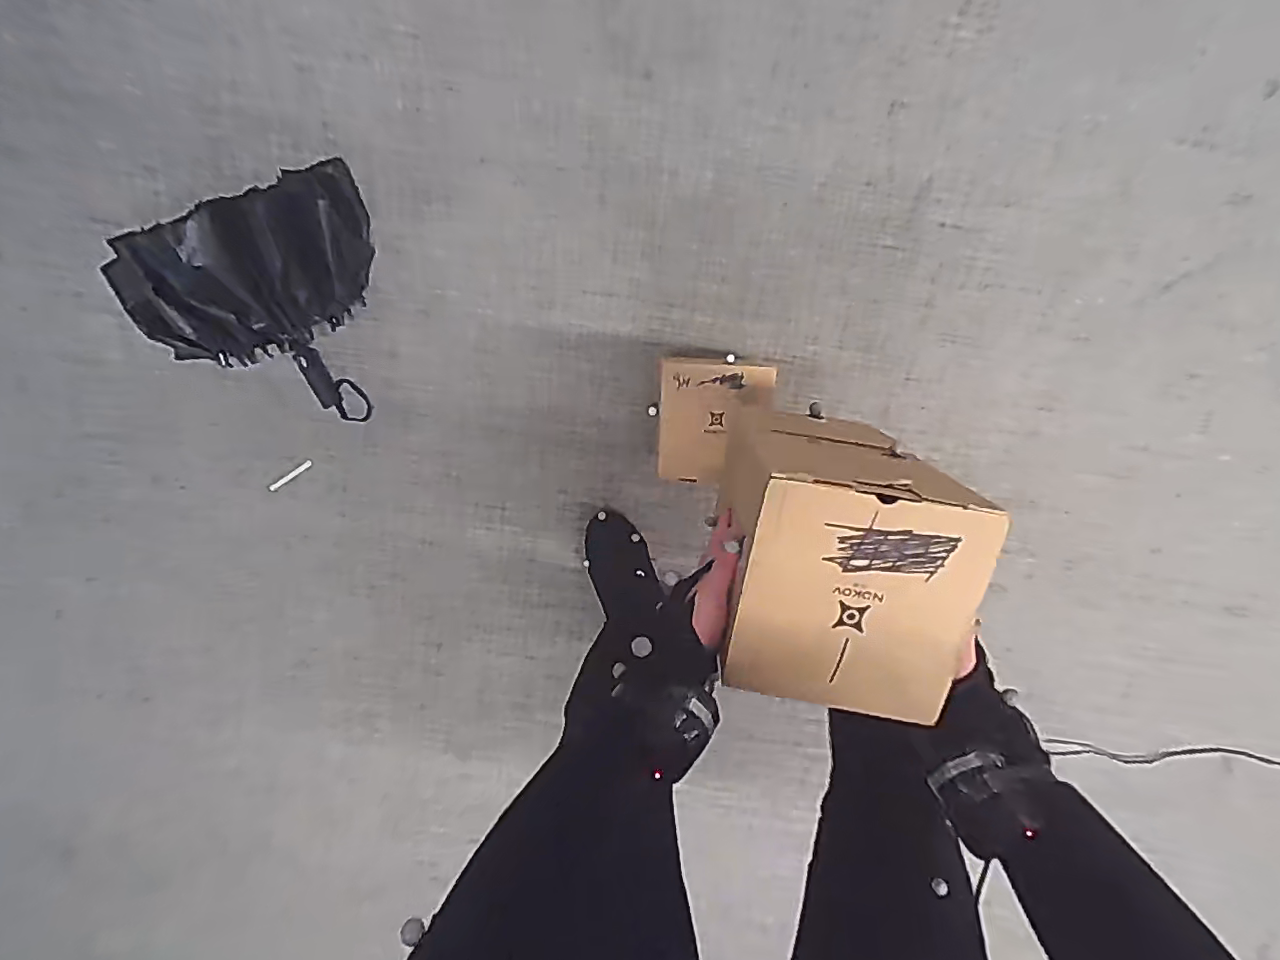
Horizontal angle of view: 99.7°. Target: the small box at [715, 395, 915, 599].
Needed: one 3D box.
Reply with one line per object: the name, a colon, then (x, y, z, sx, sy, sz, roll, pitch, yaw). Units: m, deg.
small box: (0.181, 0.008, 0.618, 0.168, 0.176, 0.179, 8, 106, 4)
